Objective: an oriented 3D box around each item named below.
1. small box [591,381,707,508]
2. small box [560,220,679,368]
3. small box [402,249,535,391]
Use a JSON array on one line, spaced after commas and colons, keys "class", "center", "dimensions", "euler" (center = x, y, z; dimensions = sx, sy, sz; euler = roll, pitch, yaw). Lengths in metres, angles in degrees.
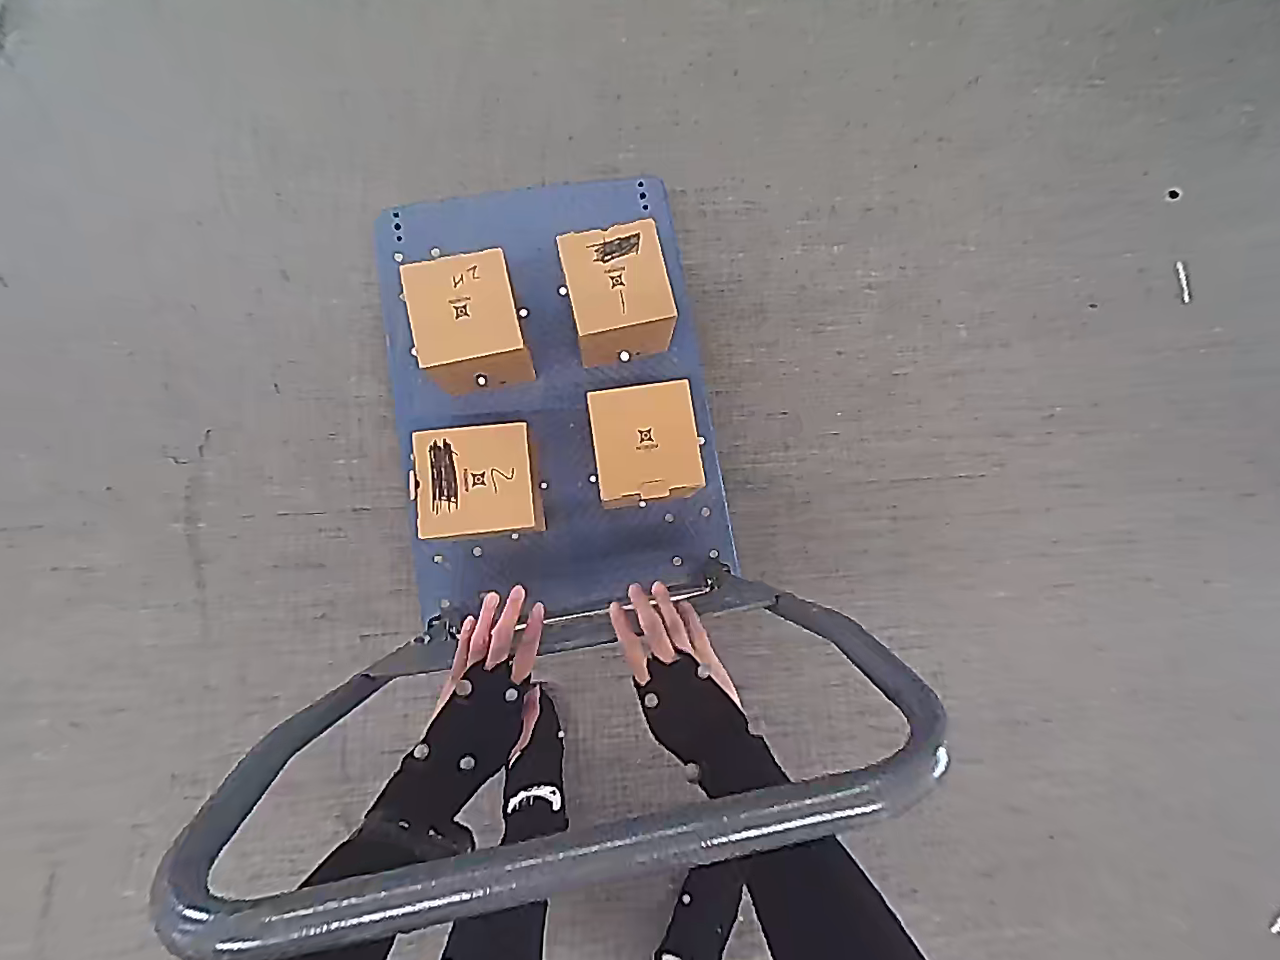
[{"class": "small box", "center": [0.007, -0.053, 0.925], "dimensions": [0.168, 0.176, 0.179], "euler": [-8, 84, -5]}, {"class": "small box", "center": [-0.039, -0.319, 0.952], "dimensions": [0.168, 0.176, 0.179], "euler": [-13, 85, -4]}, {"class": "small box", "center": [-0.284, -0.262, 0.931], "dimensions": [0.168, 0.176, 0.179], "euler": [-12, 84, -6]}]
